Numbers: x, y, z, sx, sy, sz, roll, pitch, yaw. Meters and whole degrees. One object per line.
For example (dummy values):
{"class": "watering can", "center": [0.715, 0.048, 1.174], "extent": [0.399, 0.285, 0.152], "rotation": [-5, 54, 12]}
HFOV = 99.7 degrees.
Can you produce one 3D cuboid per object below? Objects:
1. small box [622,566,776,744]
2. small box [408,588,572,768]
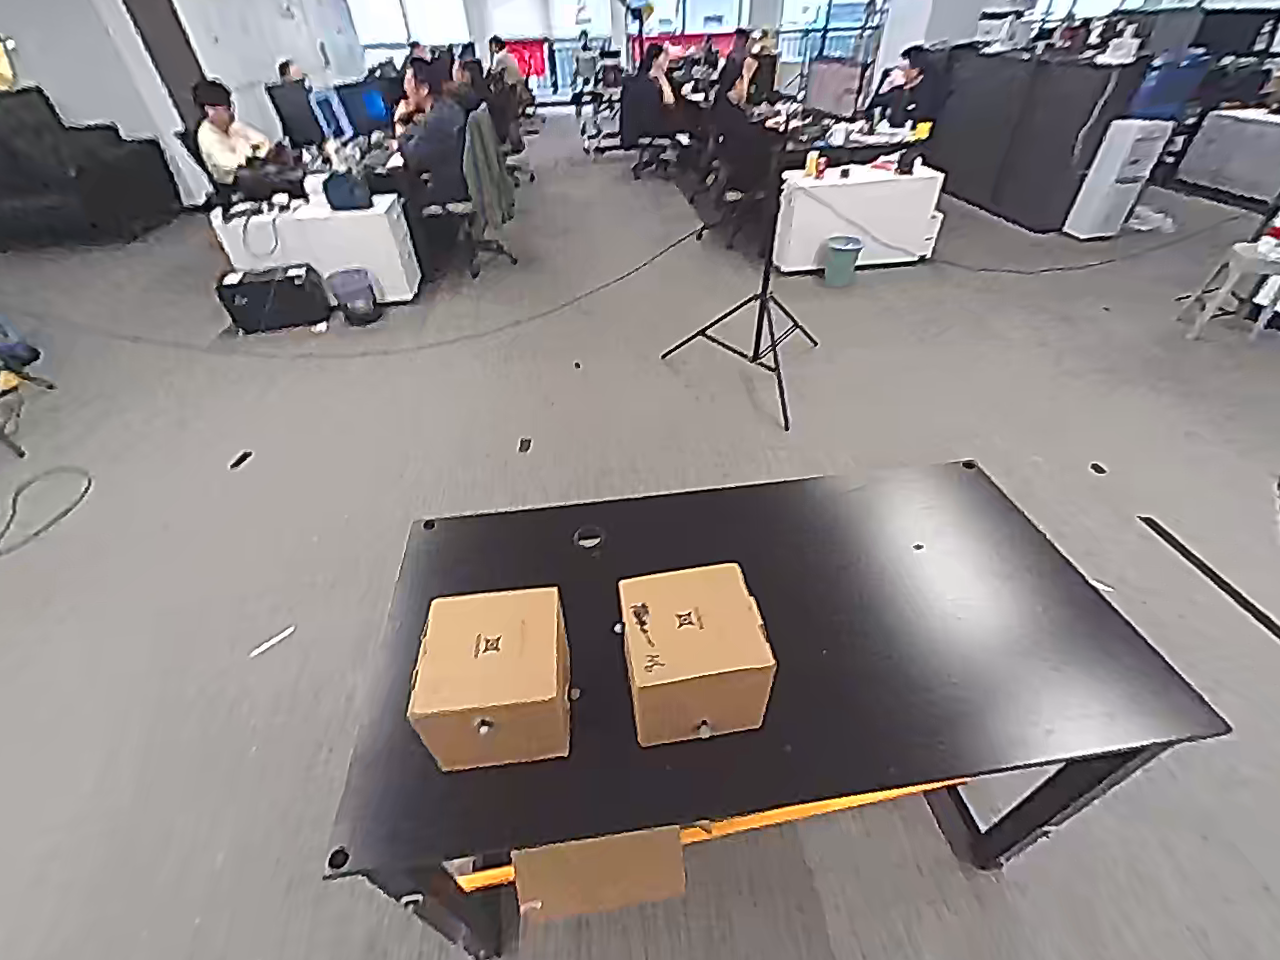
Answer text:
{"class": "small box", "center": [0.071, 0.246, 0.761], "extent": [0.179, 0.176, 0.168], "rotation": [-7, 41, -6]}
{"class": "small box", "center": [-0.190, 0.273, 0.741], "extent": [0.179, 0.176, 0.168], "rotation": [-5, 42, -5]}
